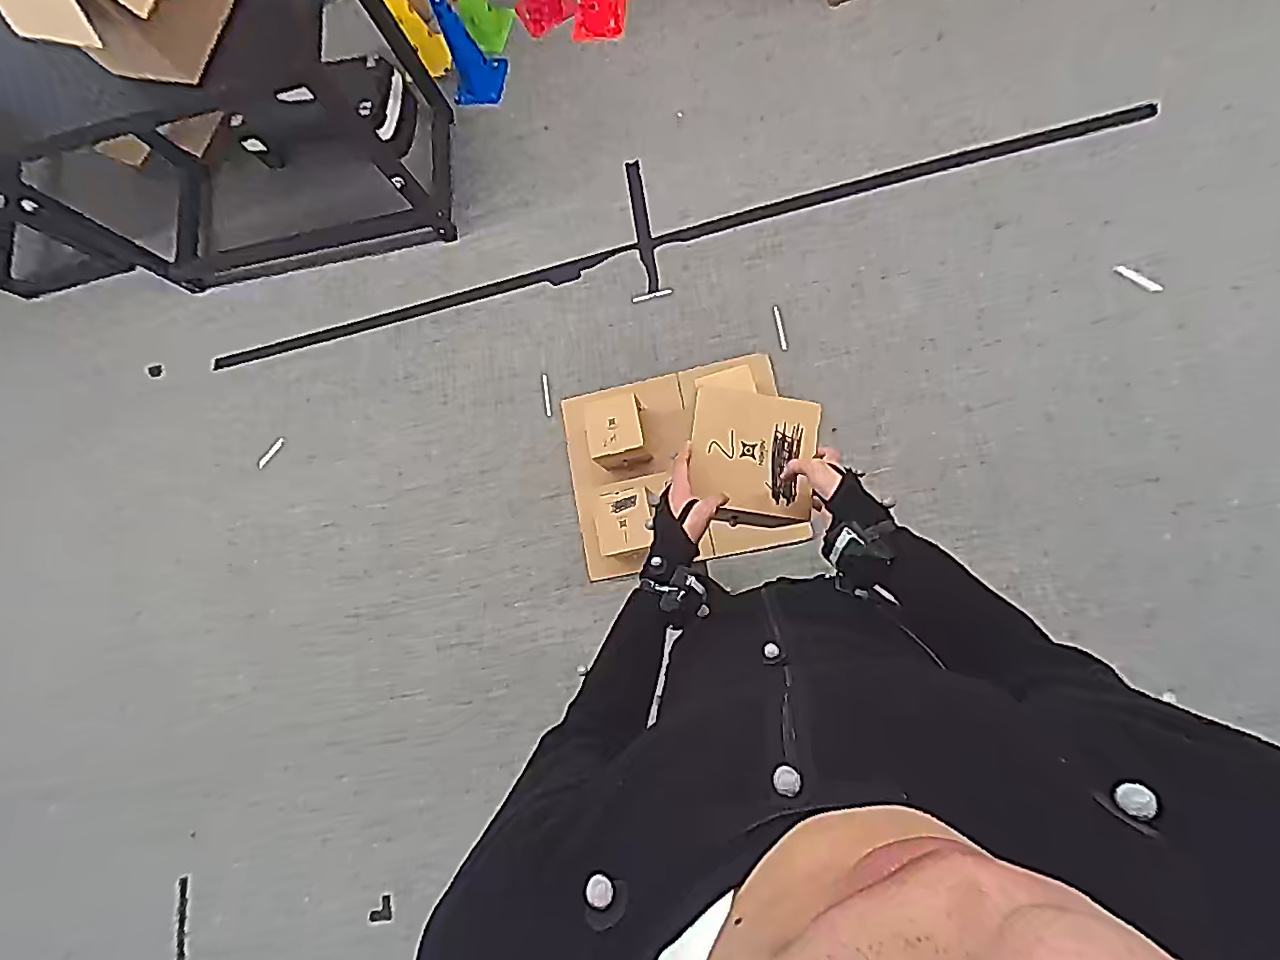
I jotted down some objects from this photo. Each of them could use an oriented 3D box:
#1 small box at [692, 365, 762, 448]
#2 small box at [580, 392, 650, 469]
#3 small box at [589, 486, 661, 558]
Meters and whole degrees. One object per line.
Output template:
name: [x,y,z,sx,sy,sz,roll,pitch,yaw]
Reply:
small box: [0.261,-0.216,1.627,0.168,0.176,0.179,-16,77,7]
small box: [-0.073,-0.147,1.670,0.168,0.176,0.179,-13,78,9]
small box: [-0.040,0.131,1.614,0.168,0.176,0.179,-14,79,9]
